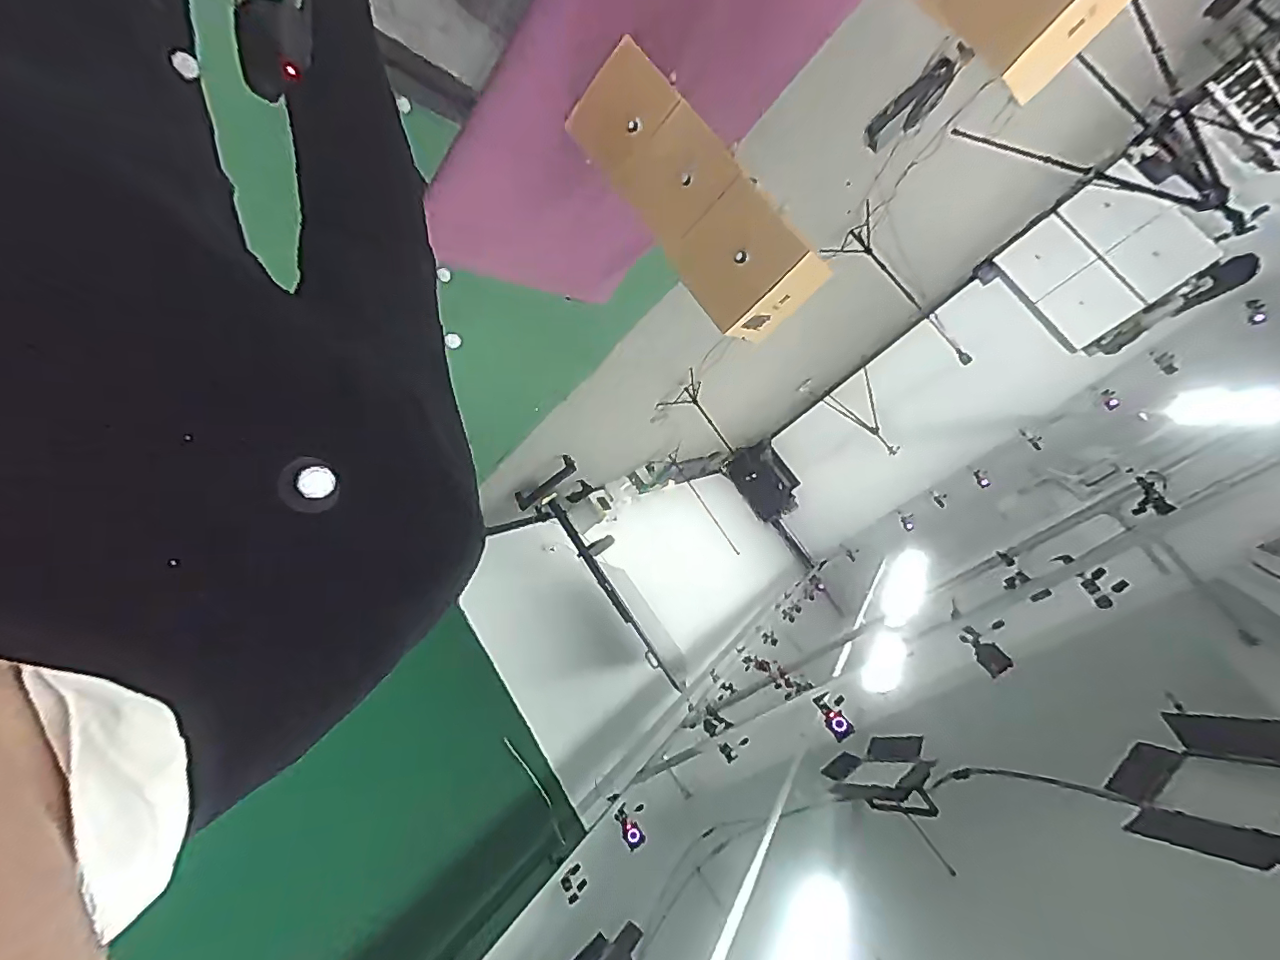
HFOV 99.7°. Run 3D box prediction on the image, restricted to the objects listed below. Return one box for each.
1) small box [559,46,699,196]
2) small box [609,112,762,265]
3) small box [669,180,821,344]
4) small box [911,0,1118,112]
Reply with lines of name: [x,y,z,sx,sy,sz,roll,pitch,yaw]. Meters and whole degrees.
small box: [-0.015,-0.623,0.983,0.179,0.176,0.168,-41,167,25]
small box: [0.079,-0.493,0.953,0.179,0.176,0.168,-43,166,26]
small box: [0.173,-0.361,0.922,0.179,0.176,0.168,-43,166,27]
small box: [0.487,-0.637,0.706,0.168,0.176,0.179,-22,163,-46]
